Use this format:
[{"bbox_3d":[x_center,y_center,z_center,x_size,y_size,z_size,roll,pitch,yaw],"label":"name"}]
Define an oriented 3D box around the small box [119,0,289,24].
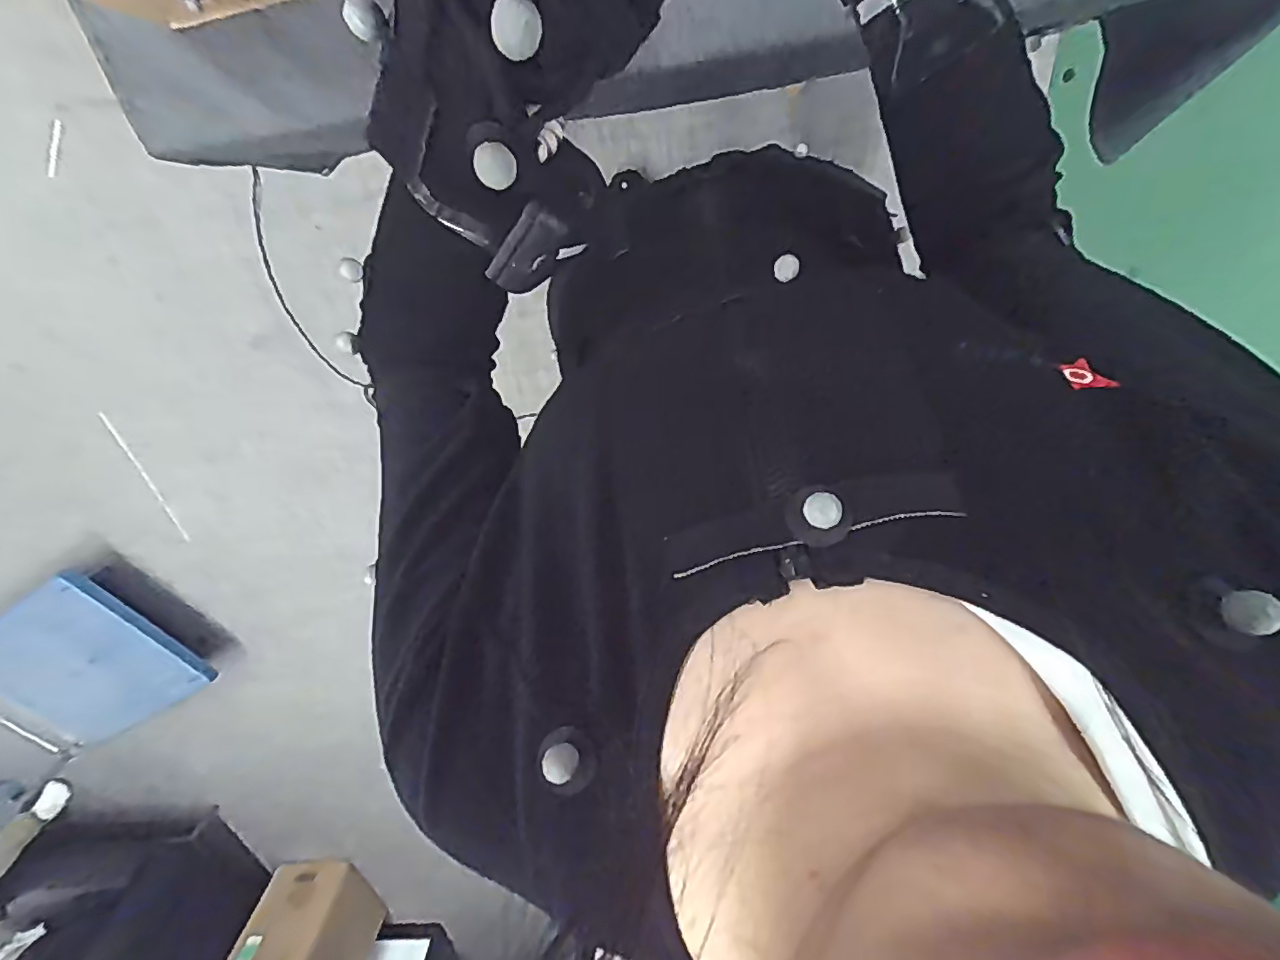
[{"bbox_3d":[-0.411,-0.506,0.427,0.168,0.176,0.179,-7,119,7],"label":"small box"}]
